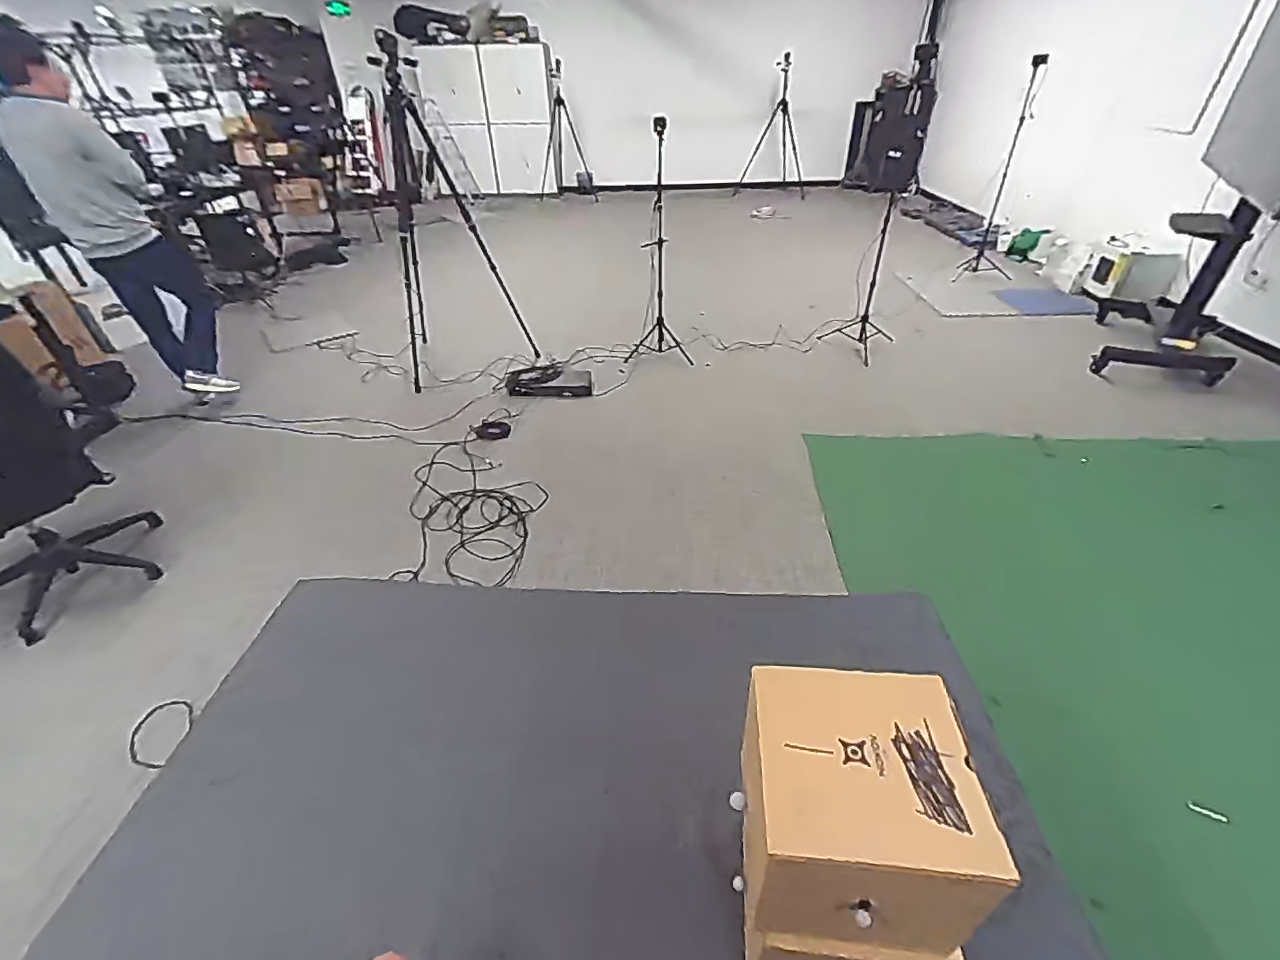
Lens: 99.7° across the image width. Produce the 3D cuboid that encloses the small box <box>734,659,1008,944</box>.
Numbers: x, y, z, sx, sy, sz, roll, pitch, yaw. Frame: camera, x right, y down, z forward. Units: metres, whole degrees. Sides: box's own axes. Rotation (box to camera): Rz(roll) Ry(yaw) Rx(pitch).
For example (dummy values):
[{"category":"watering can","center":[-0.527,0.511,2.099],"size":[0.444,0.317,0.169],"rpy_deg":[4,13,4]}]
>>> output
[{"category":"small box","center":[0.181,0.289,0.492],"size":[0.179,0.176,0.168],"rpy_deg":[1,35,6]}]

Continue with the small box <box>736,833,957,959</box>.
[{"category":"small box","center":[0.198,0.429,0.576],"size":[0.179,0.176,0.168],"rpy_deg":[3,35,7]}]
